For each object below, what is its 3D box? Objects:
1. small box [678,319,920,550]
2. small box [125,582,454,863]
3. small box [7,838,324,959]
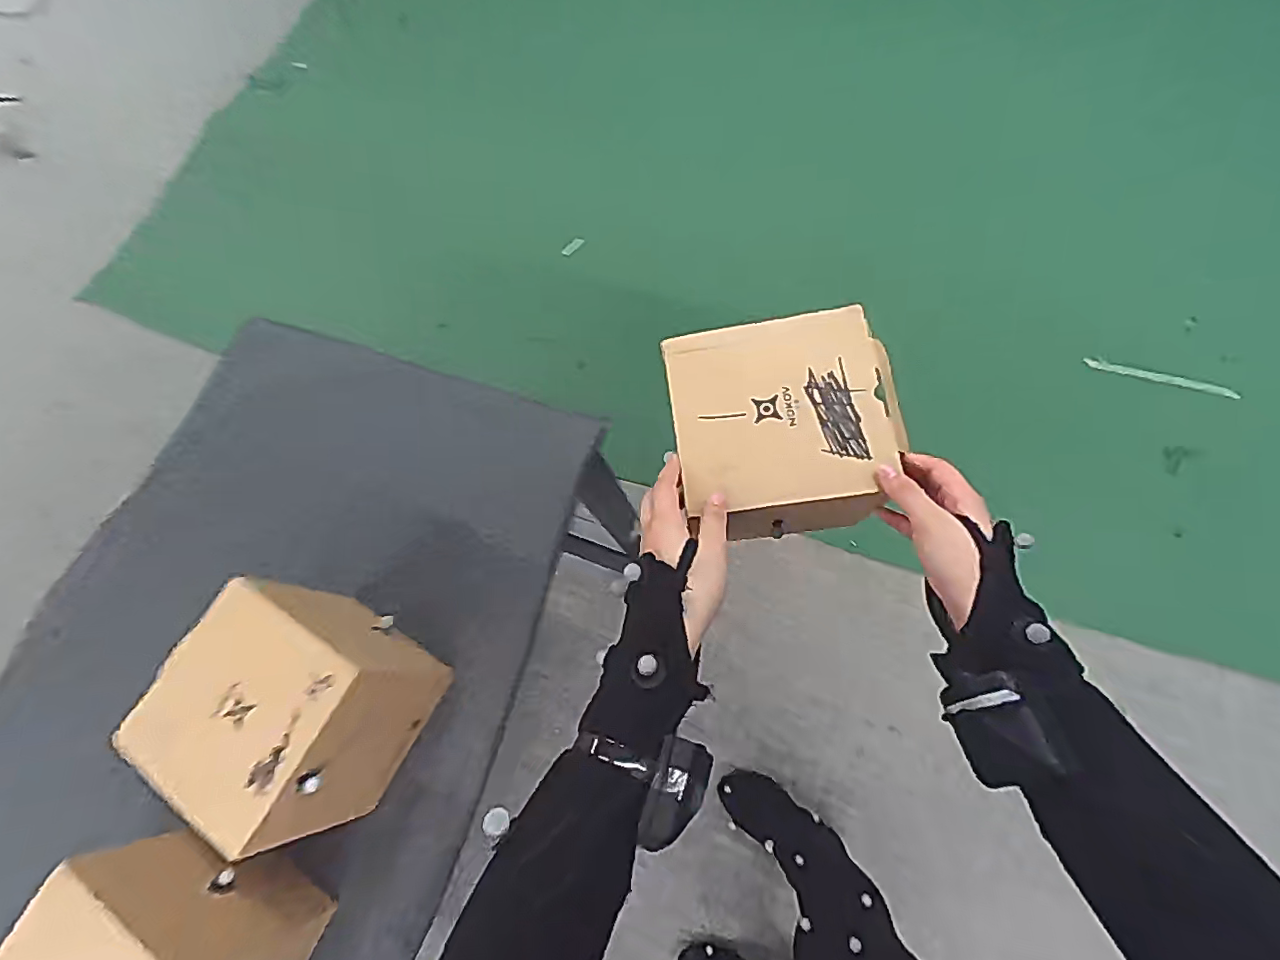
[{"bbox_3d":[0.136,-0.029,0.523,0.179,0.176,0.168,-8,74,7],"label":"small box"},{"bbox_3d":[-0.329,0.227,0.540,0.179,0.176,0.168,26,77,20],"label":"small box"},{"bbox_3d":[-0.423,0.452,0.475,0.168,0.176,0.179,22,76,18],"label":"small box"}]
